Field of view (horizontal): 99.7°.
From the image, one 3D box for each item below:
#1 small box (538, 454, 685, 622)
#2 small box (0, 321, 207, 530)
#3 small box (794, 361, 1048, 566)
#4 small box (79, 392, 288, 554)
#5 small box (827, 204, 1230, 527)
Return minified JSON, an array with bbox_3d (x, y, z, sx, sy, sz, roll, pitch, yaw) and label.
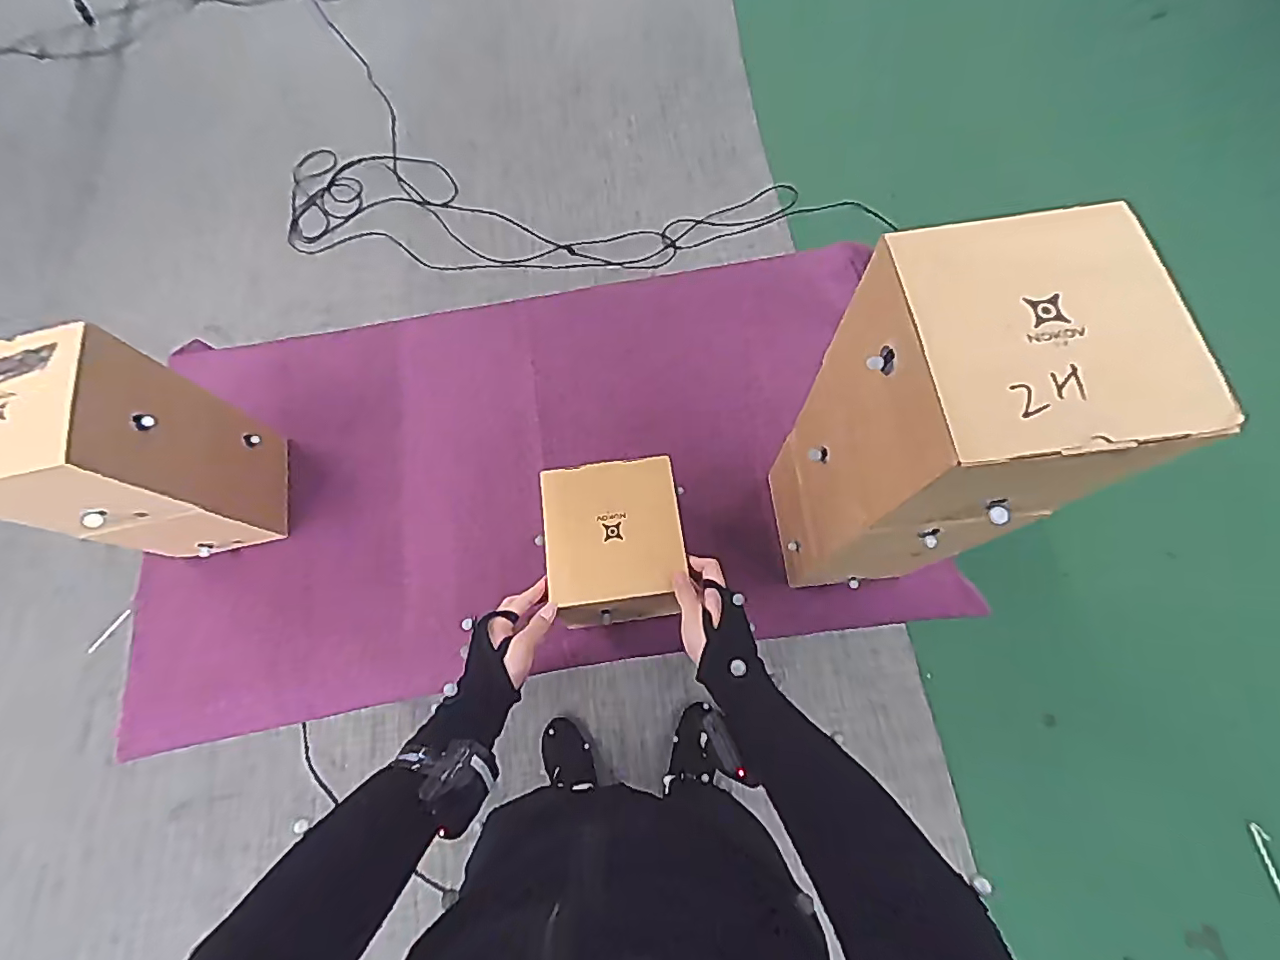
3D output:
[{"bbox_3d":[-0.035,0.087,0.722,0.168,0.176,0.179,-8,66,-2],"label":"small box"},{"bbox_3d":[-0.659,-0.055,0.640,0.168,0.176,0.179,-12,72,0],"label":"small box"},{"bbox_3d":[0.271,-0.017,0.573,0.168,0.176,0.179,-6,70,3],"label":"small box"},{"bbox_3d":[-0.651,-0.003,0.795,0.168,0.176,0.179,-12,72,0],"label":"small box"},{"bbox_3d":[0.259,-0.074,0.419,0.168,0.176,0.179,-7,71,2],"label":"small box"}]
